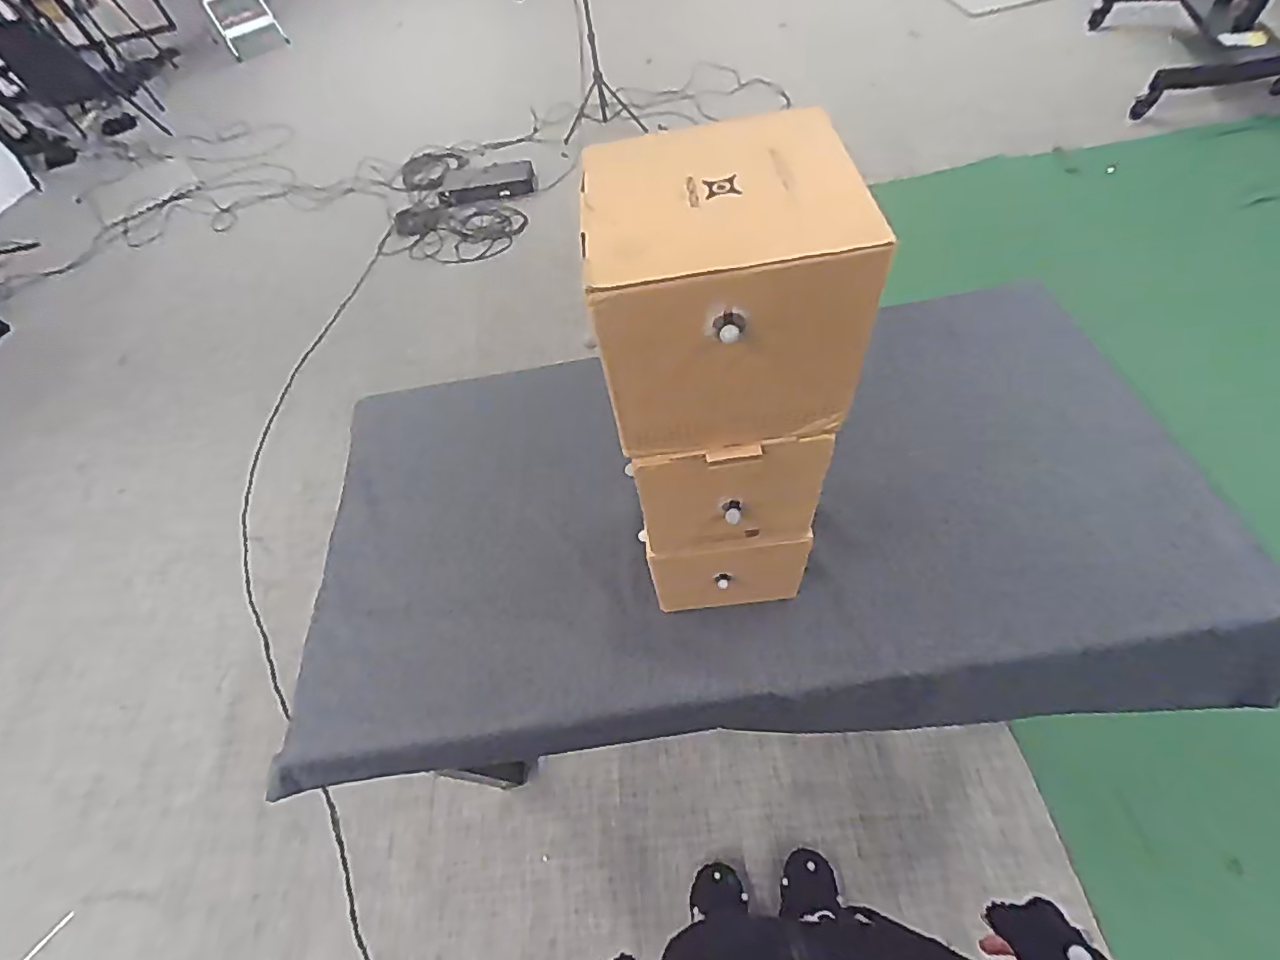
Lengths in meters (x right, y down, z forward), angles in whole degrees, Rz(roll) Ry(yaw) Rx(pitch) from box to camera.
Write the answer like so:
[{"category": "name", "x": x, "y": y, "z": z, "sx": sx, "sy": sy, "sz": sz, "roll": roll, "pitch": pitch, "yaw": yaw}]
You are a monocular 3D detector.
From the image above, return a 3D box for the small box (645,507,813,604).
[{"category": "small box", "x": 0.100, "y": 0.043, "z": 0.675, "sx": 0.179, "sy": 0.176, "sz": 0.168, "roll": -8, "pitch": 56, "yaw": 5}]

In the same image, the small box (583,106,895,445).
[{"category": "small box", "x": 0.060, "y": -0.142, "z": 0.410, "sx": 0.179, "sy": 0.176, "sz": 0.168, "roll": -7, "pitch": 57, "yaw": 3}]

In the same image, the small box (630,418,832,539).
[{"category": "small box", "x": 0.079, "y": -0.052, "z": 0.545, "sx": 0.168, "sy": 0.176, "sz": 0.179, "roll": -8, "pitch": 57, "yaw": 3}]
